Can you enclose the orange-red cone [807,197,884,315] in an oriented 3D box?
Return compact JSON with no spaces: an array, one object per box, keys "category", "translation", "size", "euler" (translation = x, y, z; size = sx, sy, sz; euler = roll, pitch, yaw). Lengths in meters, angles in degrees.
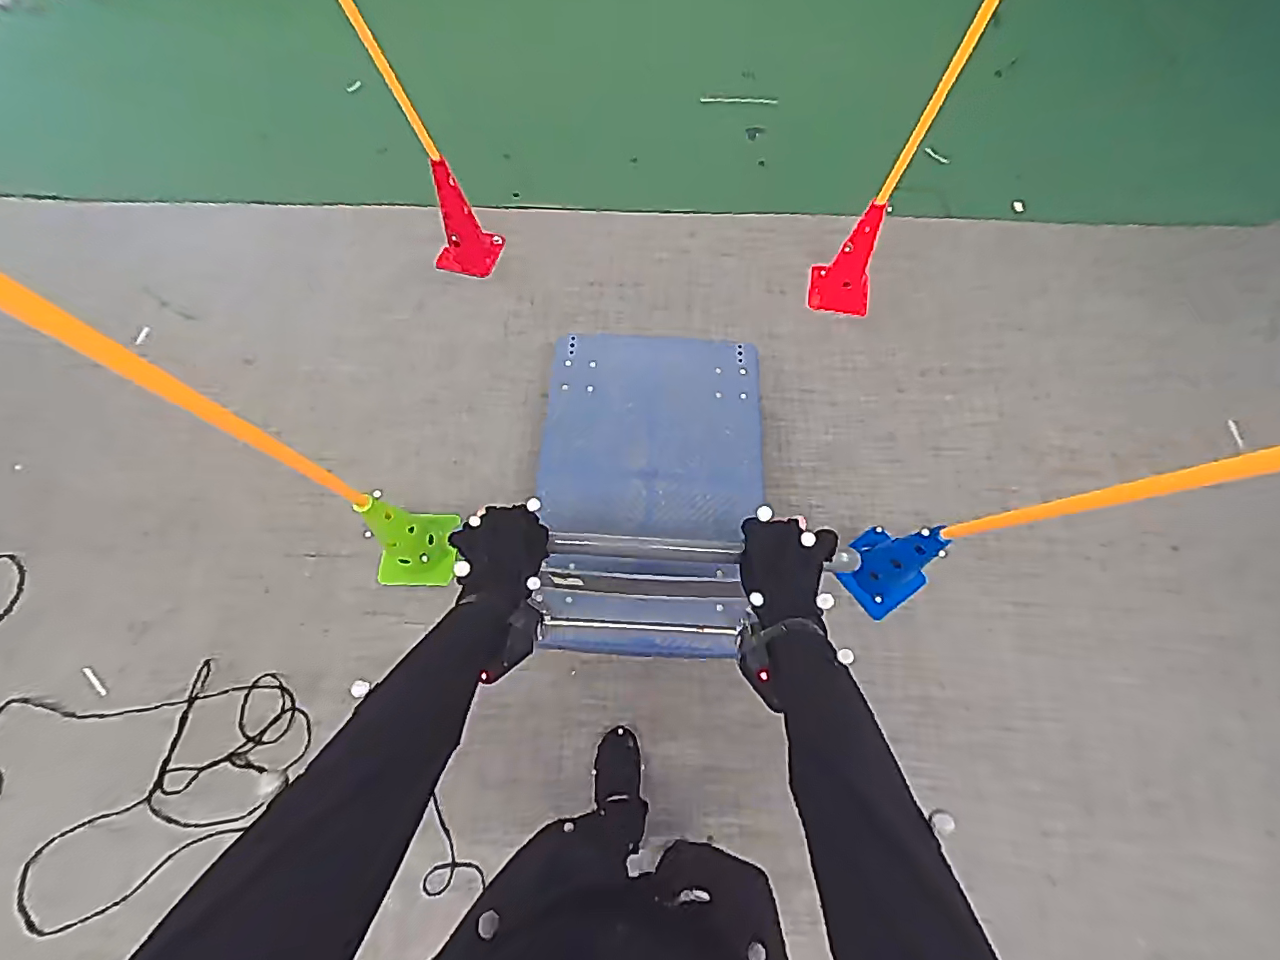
[{"category":"orange-red cone","translation":[0.675,-0.718,1.688],"size":[0.198,0.360,0.199],"euler":[11,68,6]}]
